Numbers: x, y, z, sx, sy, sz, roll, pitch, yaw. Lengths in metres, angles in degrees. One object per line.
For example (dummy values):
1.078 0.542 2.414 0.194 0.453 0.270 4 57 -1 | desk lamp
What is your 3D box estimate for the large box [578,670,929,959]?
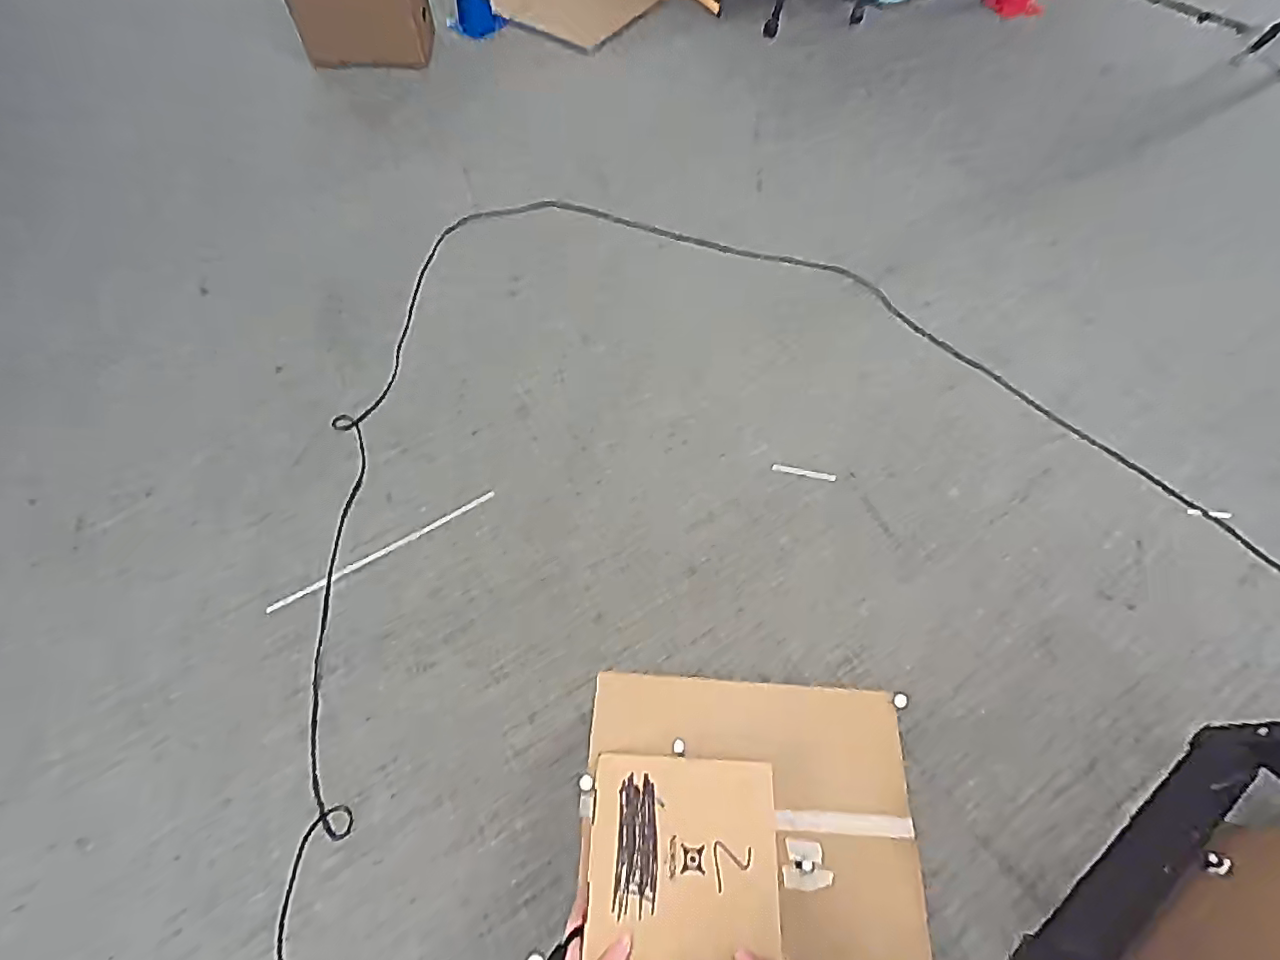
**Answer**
0.129 0.474 0.801 0.408 0.320 0.320 4 64 0 | large box
